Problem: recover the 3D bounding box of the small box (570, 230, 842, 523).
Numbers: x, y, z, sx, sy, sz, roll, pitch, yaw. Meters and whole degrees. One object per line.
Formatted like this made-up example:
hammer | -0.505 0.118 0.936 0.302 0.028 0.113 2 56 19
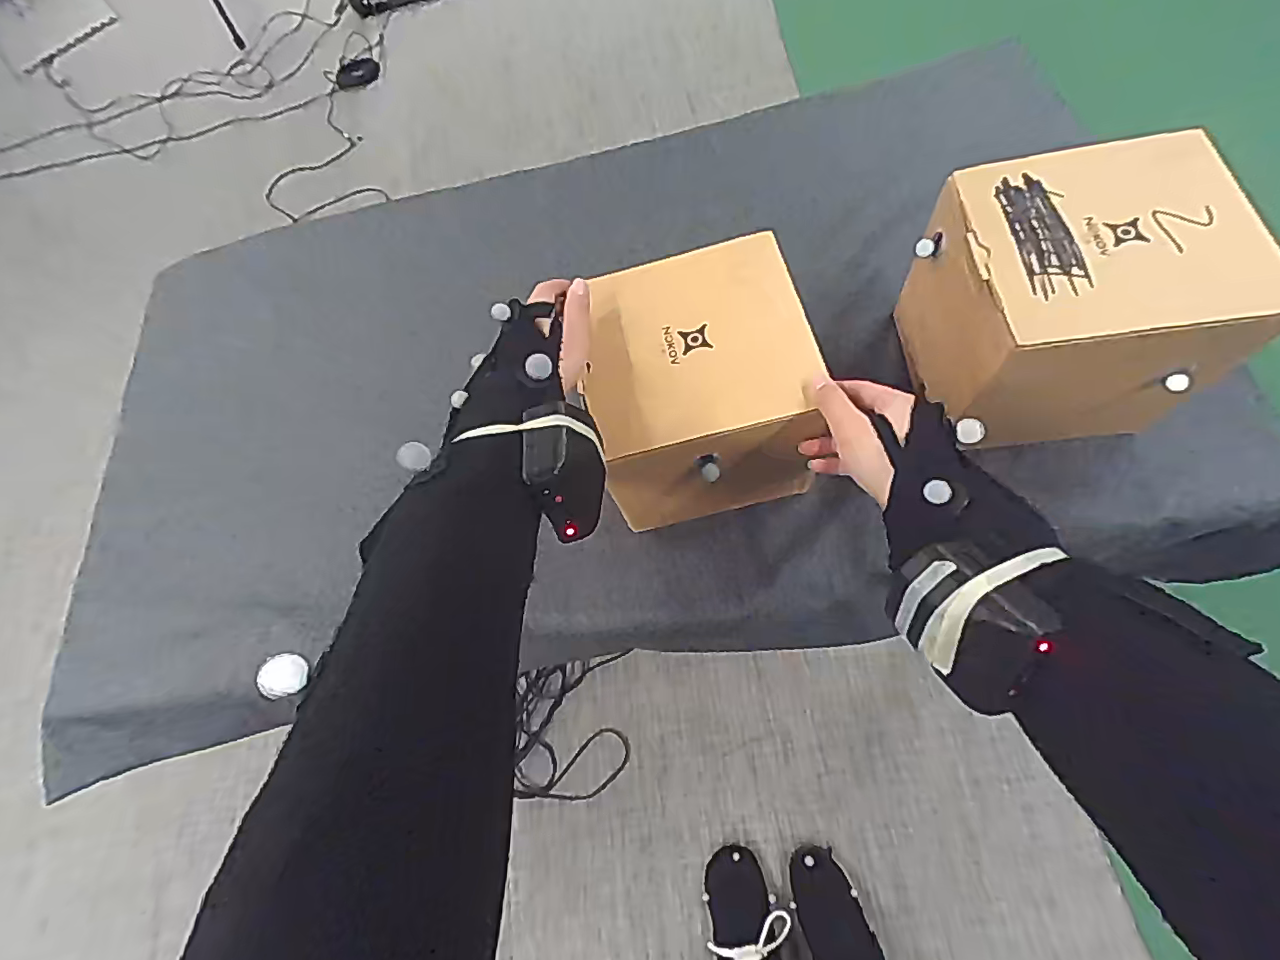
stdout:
small box | 0.053 -0.076 0.476 0.179 0.176 0.168 -14 67 5
